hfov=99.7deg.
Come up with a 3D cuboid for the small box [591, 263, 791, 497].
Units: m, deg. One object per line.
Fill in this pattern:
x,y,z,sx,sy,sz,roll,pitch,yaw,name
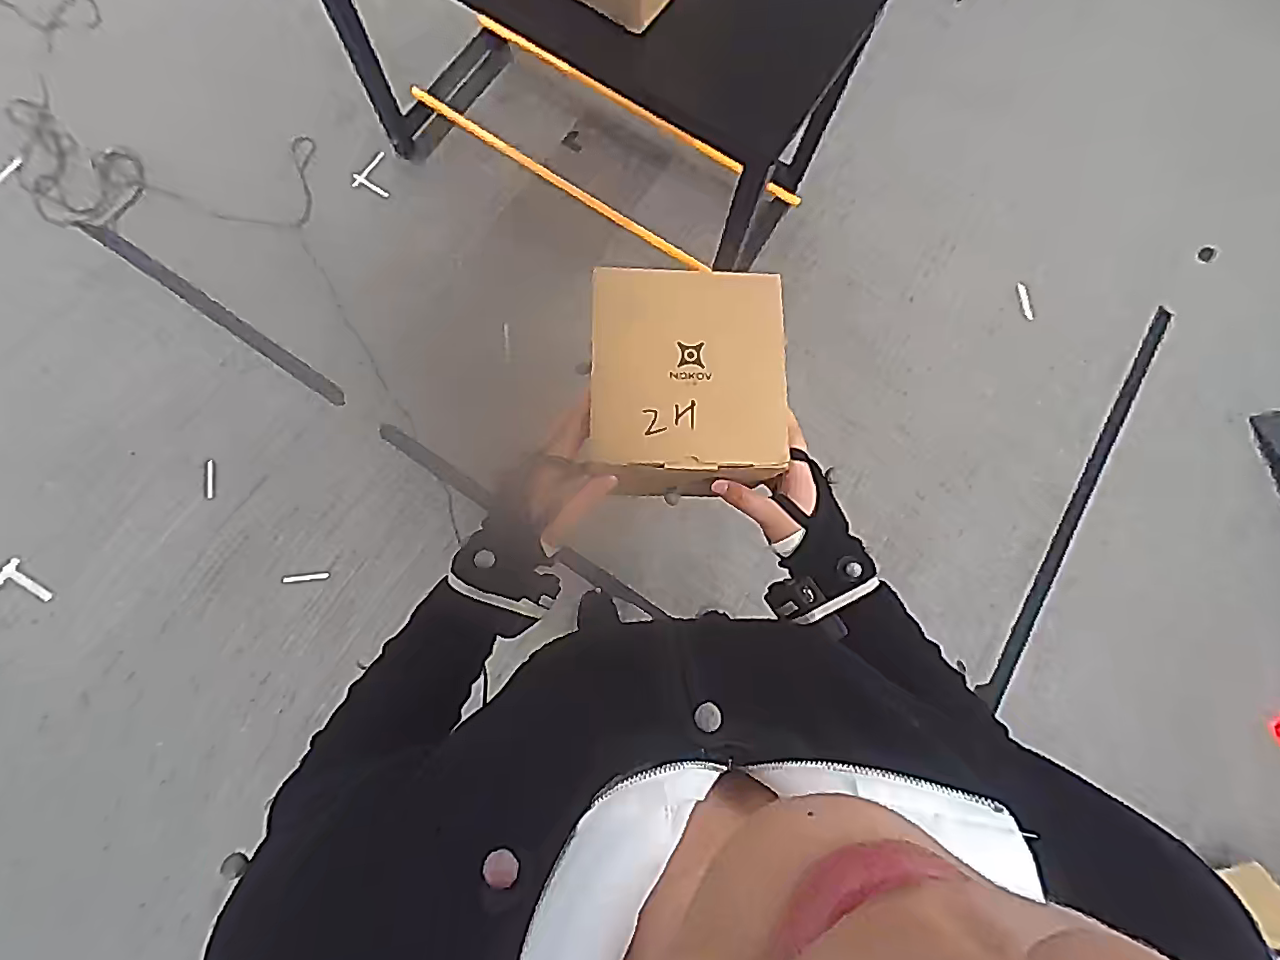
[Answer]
0.037,-0.084,0.528,0.168,0.176,0.179,0,80,-3,small box
